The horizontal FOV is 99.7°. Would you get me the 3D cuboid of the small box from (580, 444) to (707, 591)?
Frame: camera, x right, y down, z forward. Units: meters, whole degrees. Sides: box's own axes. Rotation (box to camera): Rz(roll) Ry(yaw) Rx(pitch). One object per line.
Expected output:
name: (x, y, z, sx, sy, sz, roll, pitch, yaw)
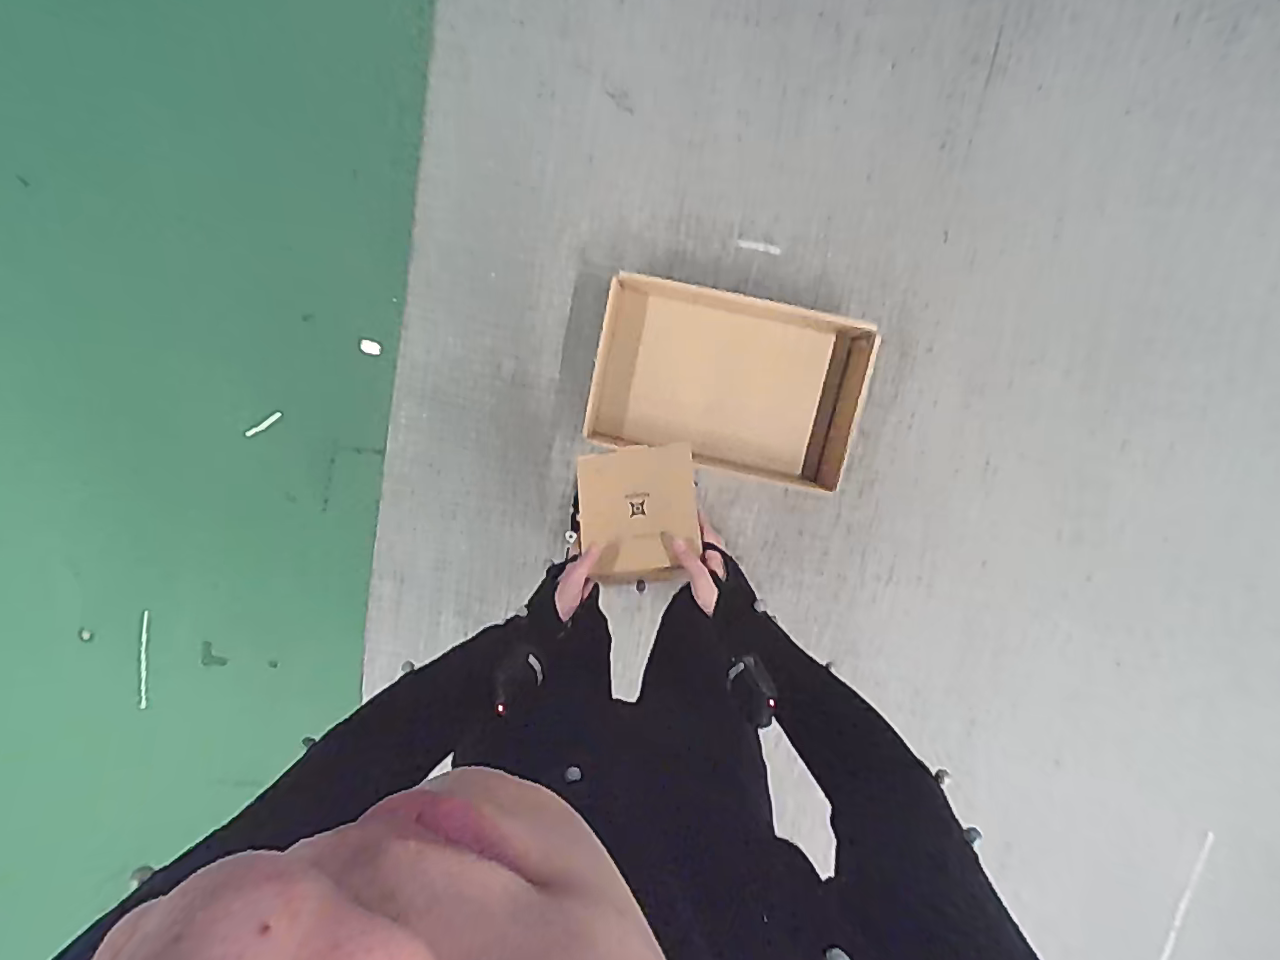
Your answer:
small box: (0.008, 0.063, 0.816, 0.168, 0.176, 0.179, -7, 72, 4)
